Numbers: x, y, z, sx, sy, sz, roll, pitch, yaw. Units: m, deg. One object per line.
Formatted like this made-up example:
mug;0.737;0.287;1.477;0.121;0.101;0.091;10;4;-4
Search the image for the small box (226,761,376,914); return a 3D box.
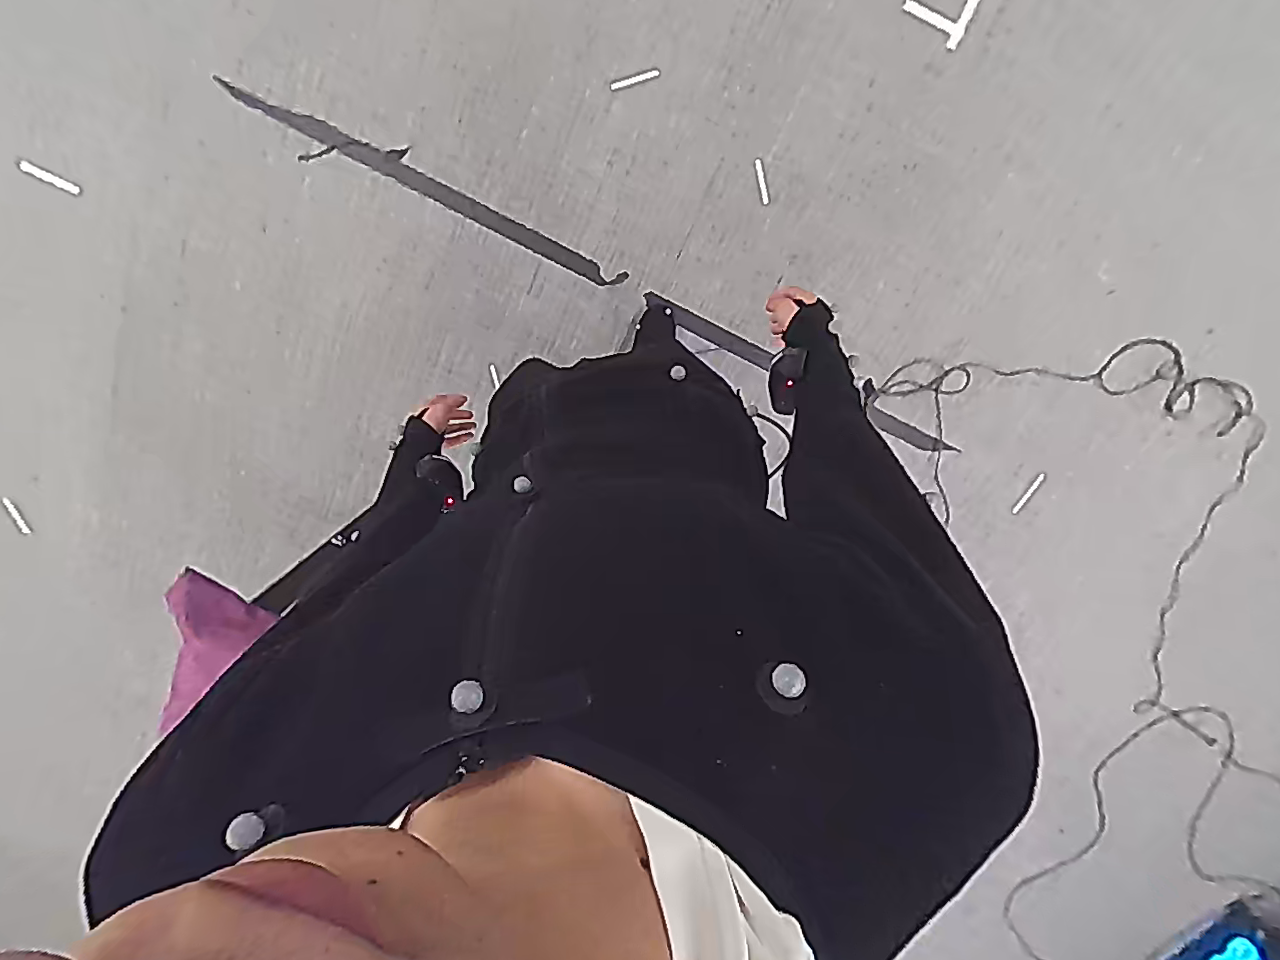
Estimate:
small box;-0.659;0.693;1.064;0.179;0.176;0.168;22;109;-5
